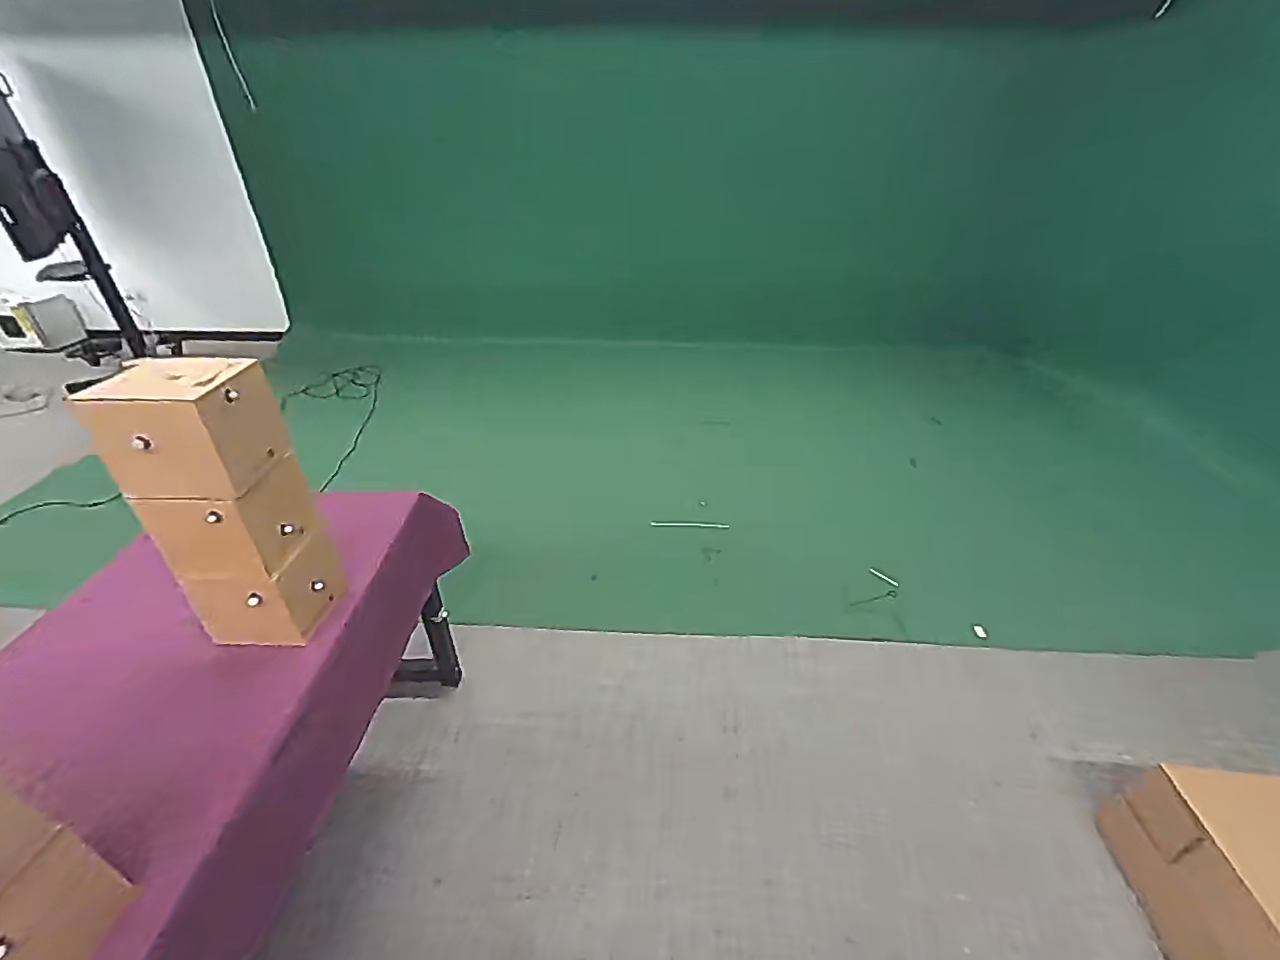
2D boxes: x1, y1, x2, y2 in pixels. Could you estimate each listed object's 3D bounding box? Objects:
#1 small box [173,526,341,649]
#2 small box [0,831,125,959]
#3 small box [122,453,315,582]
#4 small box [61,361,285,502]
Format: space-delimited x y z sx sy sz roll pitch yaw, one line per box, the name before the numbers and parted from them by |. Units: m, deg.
small box | -0.705 0.202 1.023 0.179 0.176 0.168 0 33 1
small box | -0.715 0.499 0.563 0.168 0.176 0.179 2 32 3
small box | -0.712 0.062 0.939 0.179 0.176 0.168 1 33 0
small box | -0.709 -0.076 0.849 0.179 0.176 0.168 -1 34 -2
